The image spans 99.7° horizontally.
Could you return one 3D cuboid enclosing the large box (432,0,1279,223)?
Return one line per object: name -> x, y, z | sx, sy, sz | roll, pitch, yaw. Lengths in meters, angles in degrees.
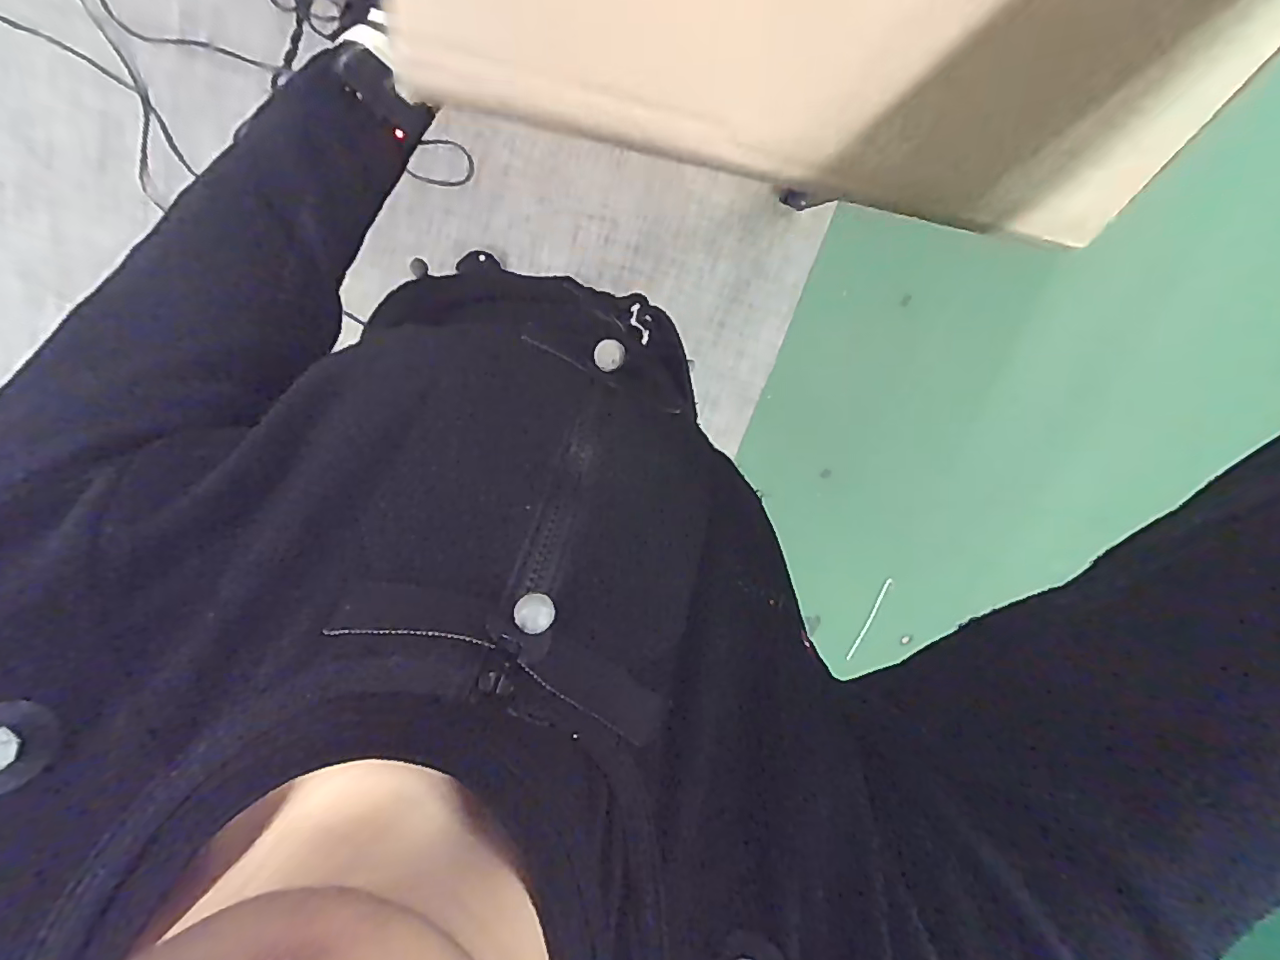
large box -> 0.076, -0.374, 0.220 | 0.320, 0.408, 0.320 | 0, 144, -19
